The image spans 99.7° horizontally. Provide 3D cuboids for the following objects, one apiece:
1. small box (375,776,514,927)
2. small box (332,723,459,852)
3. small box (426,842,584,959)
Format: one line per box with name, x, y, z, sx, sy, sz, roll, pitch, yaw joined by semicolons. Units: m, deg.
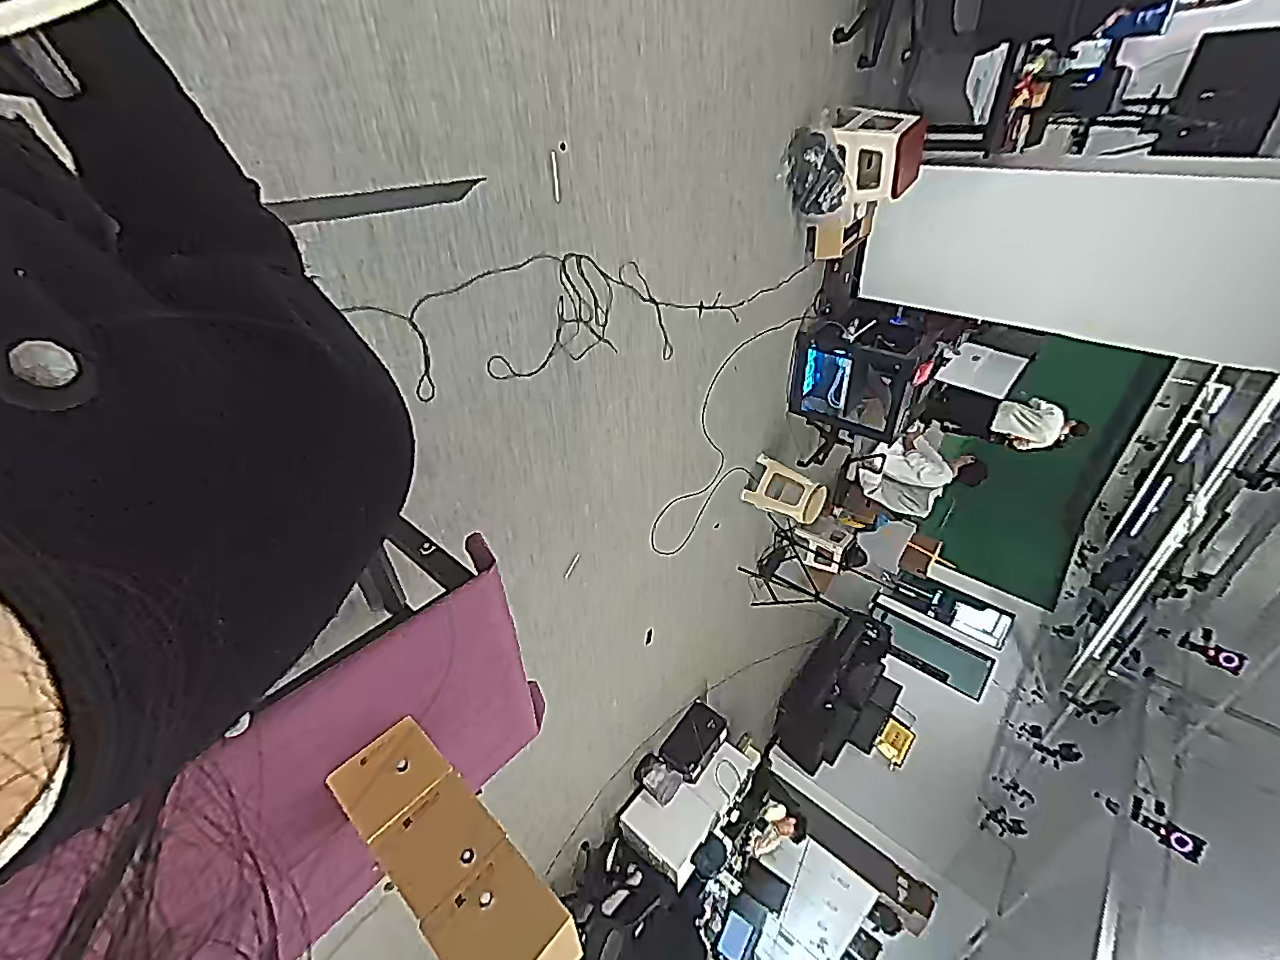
small box;-0.331;0.669;0.953;0.168;0.176;0.179;-35;137;-38
small box;-0.456;0.605;1.040;0.168;0.176;0.179;-34;136;-38
small box;-0.210;0.728;0.859;0.168;0.176;0.179;-34;135;-38
